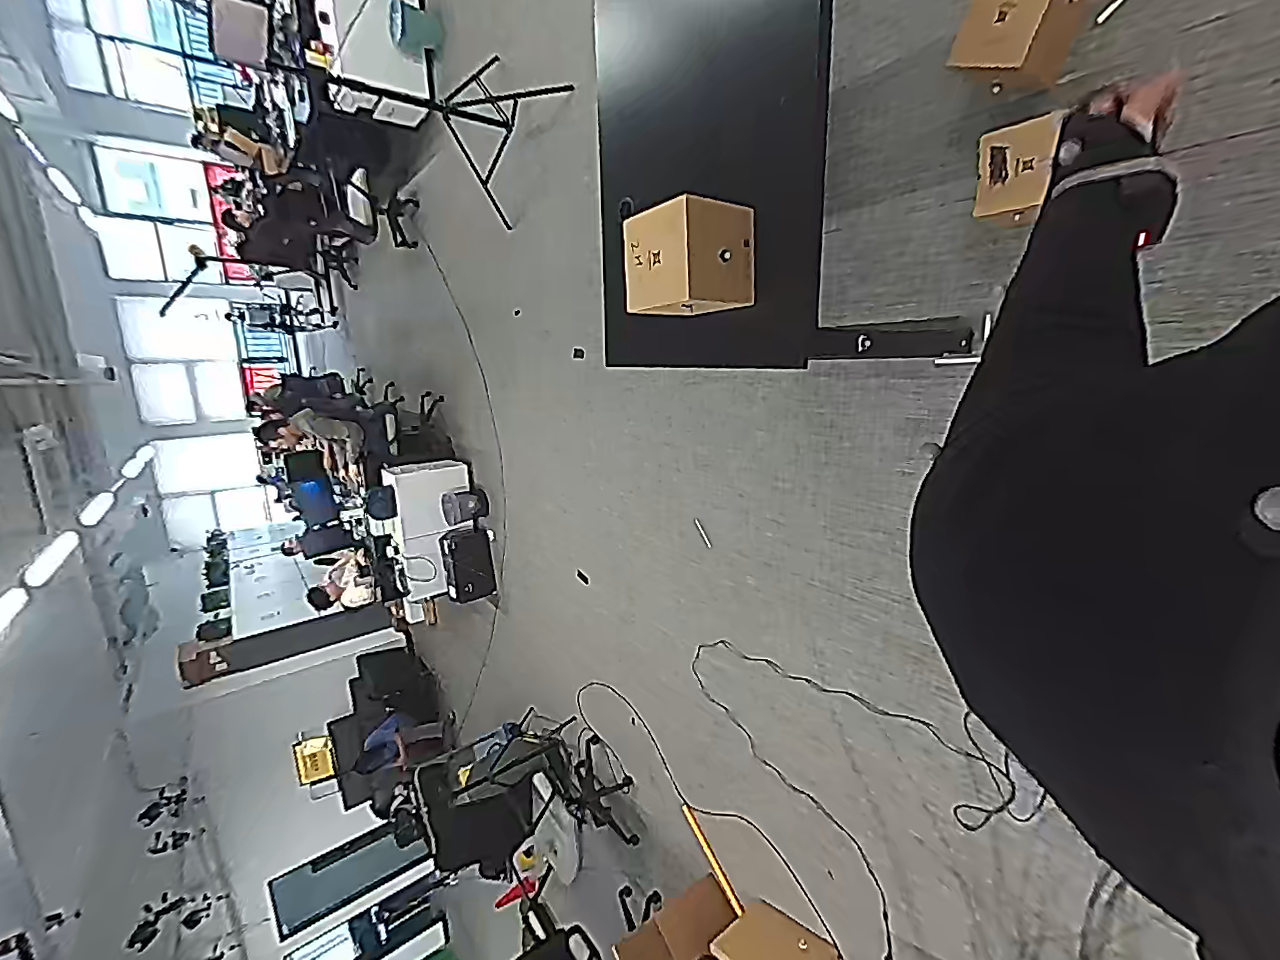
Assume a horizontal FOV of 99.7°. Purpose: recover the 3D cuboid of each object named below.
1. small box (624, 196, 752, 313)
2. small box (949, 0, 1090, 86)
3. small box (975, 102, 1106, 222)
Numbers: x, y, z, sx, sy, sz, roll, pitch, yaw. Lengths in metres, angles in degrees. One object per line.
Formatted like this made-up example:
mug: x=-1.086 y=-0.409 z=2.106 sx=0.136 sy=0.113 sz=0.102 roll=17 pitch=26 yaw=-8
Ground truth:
small box: x=0.091 y=-0.403 z=0.995 sx=0.179 sy=0.176 sz=0.168 roll=12 pitch=108 yaw=52
small box: x=0.800 y=-0.958 z=1.134 sx=0.168 sy=0.176 sz=0.179 roll=41 pitch=131 yaw=40
small box: x=0.848 y=-0.660 z=1.149 sx=0.179 sy=0.176 sz=0.168 roll=13 pitch=110 yaw=50
